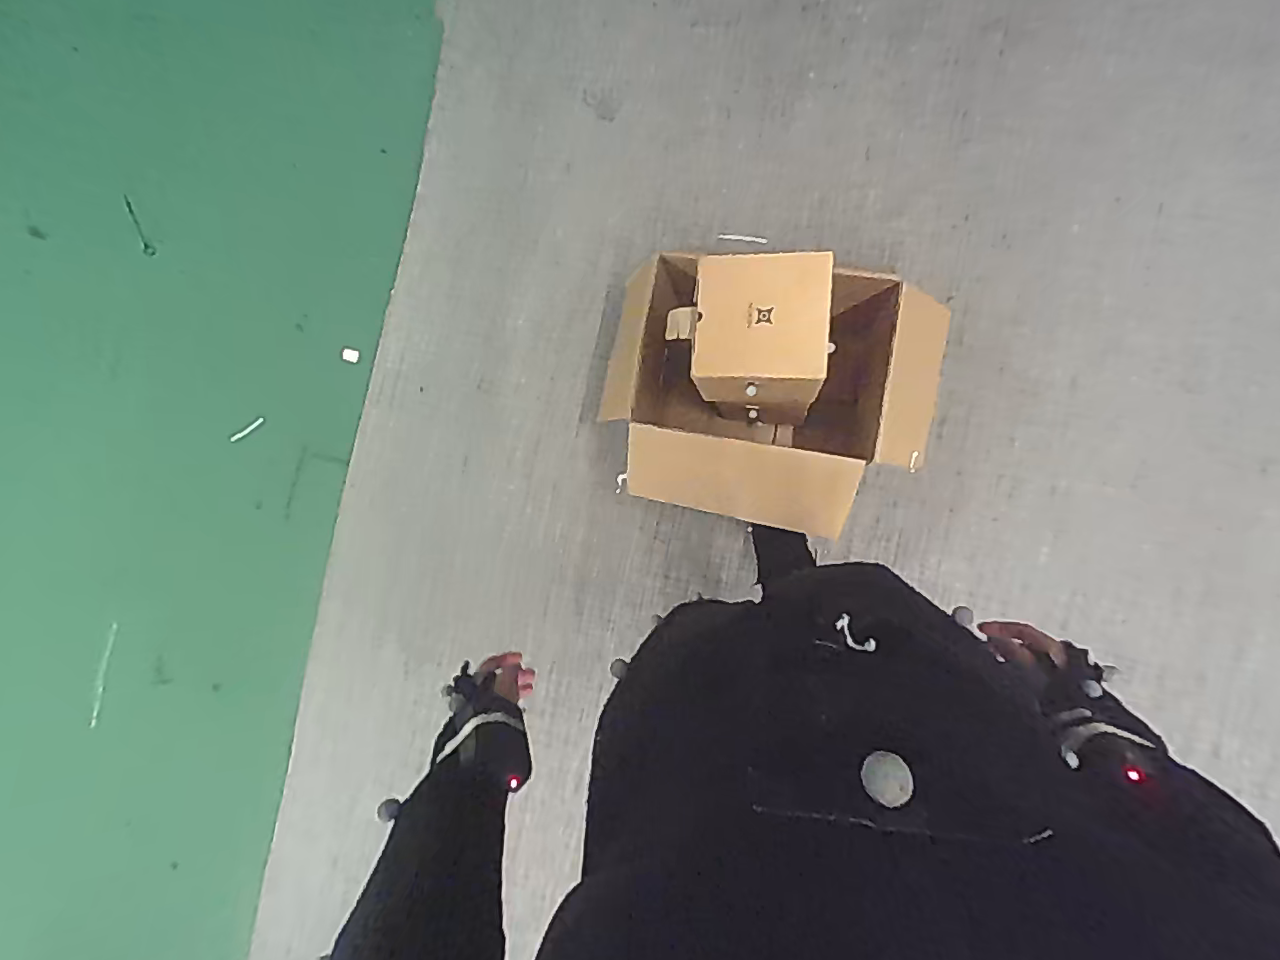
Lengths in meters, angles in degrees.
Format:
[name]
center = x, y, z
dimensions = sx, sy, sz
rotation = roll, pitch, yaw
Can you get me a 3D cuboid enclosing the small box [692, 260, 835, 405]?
[small box]
center = 0.178, -0.206, 0.790
dimensions = 0.179, 0.176, 0.168
rotation = 4, 88, 13
